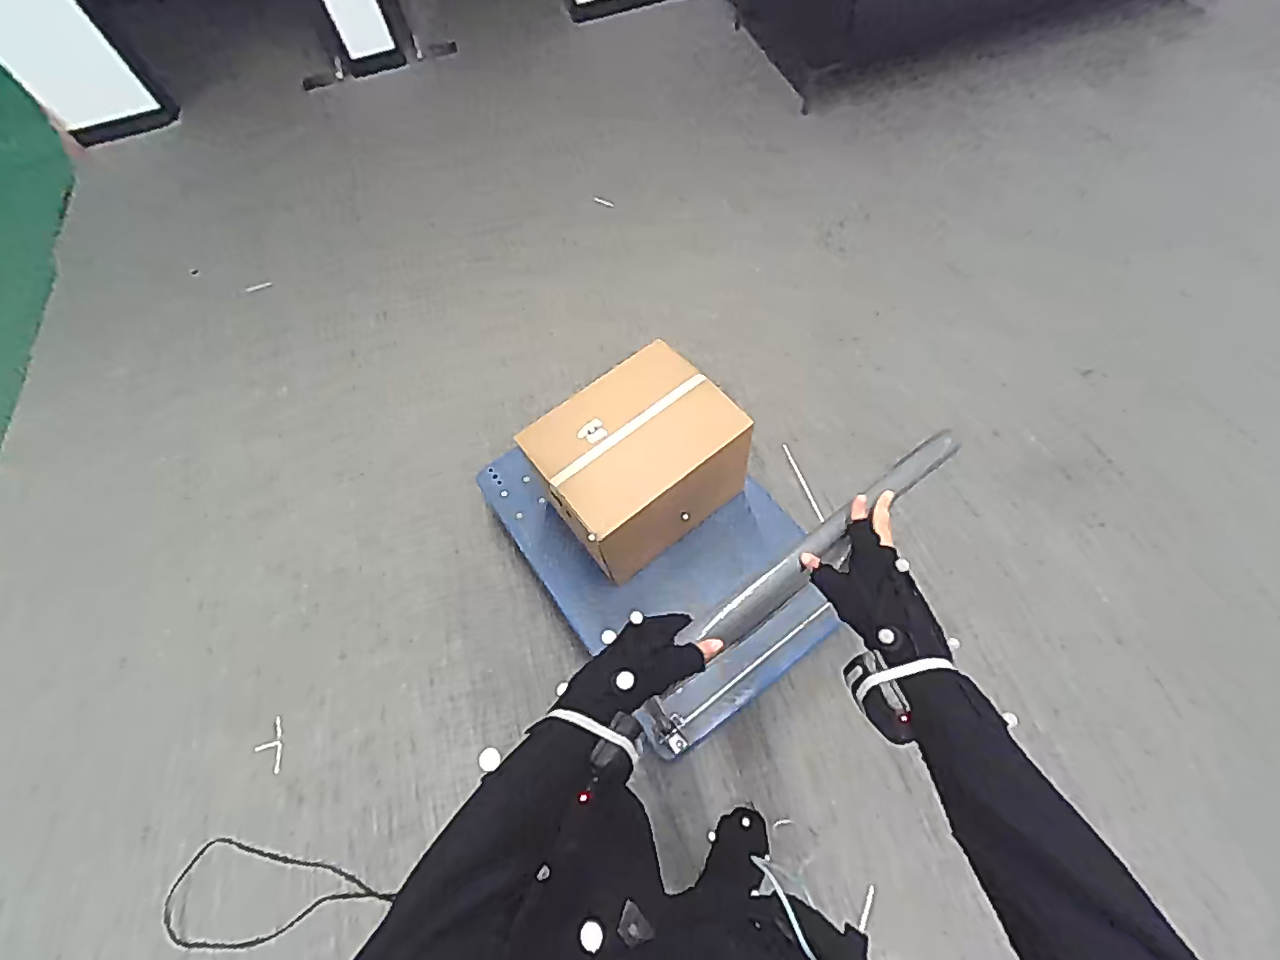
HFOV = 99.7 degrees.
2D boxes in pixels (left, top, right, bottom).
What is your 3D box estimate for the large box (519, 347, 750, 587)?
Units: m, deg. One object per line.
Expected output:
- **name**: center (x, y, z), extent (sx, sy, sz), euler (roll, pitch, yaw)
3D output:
- **large box**: center (0.001, -0.023, 1.263), extent (0.408, 0.320, 0.320), euler (-37, 64, -12)
